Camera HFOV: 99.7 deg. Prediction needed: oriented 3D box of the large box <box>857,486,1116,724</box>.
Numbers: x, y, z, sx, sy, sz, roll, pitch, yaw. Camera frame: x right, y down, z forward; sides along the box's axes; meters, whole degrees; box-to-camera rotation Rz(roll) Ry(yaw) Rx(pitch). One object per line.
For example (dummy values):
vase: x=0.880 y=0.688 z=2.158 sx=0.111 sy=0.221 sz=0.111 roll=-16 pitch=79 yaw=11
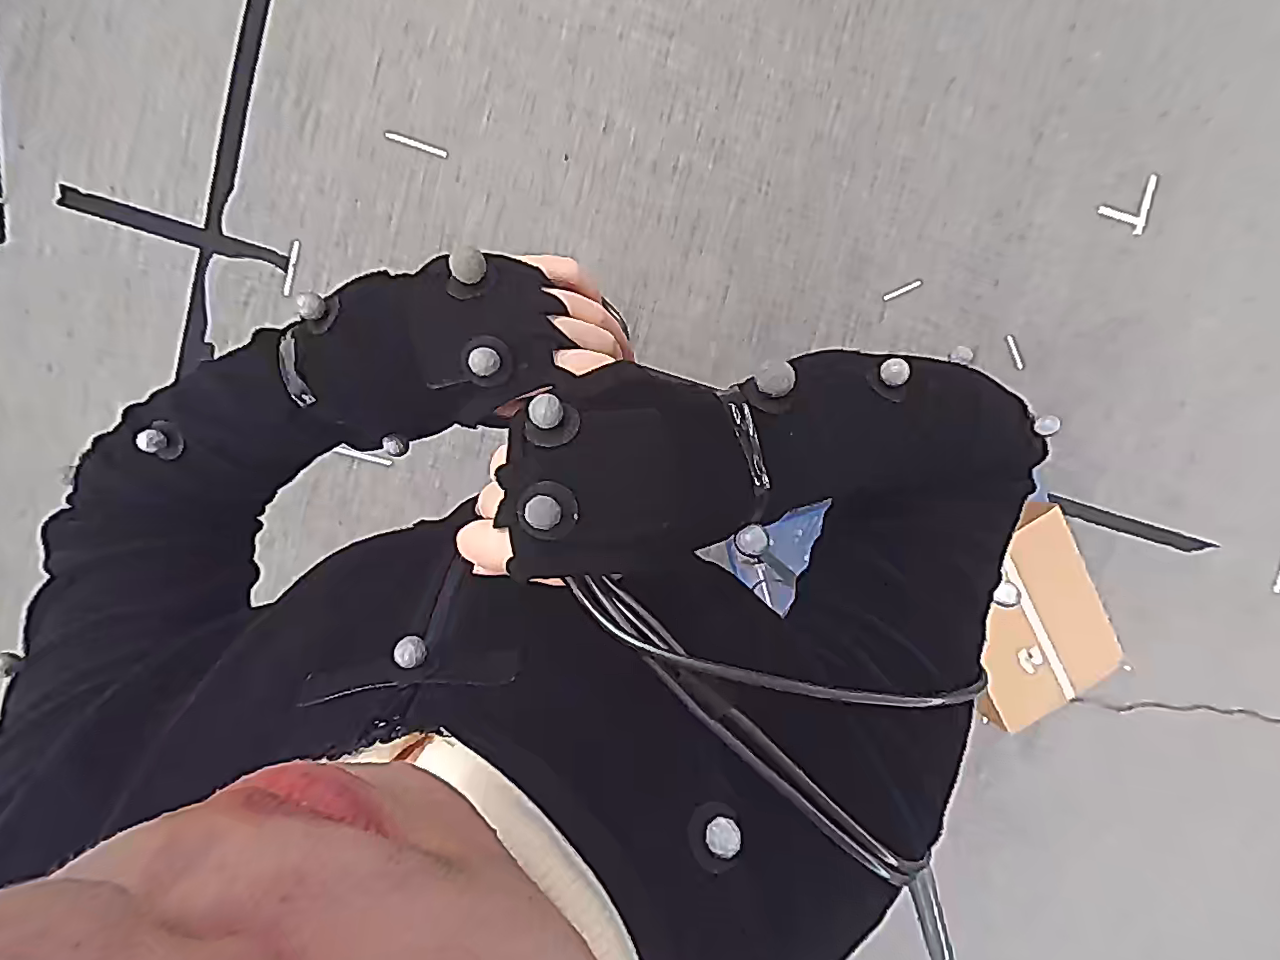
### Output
large box: x=0.799 y=0.271 z=1.292 sx=0.320 sy=0.320 sz=0.408 roll=-29 pitch=99 yaw=-2
